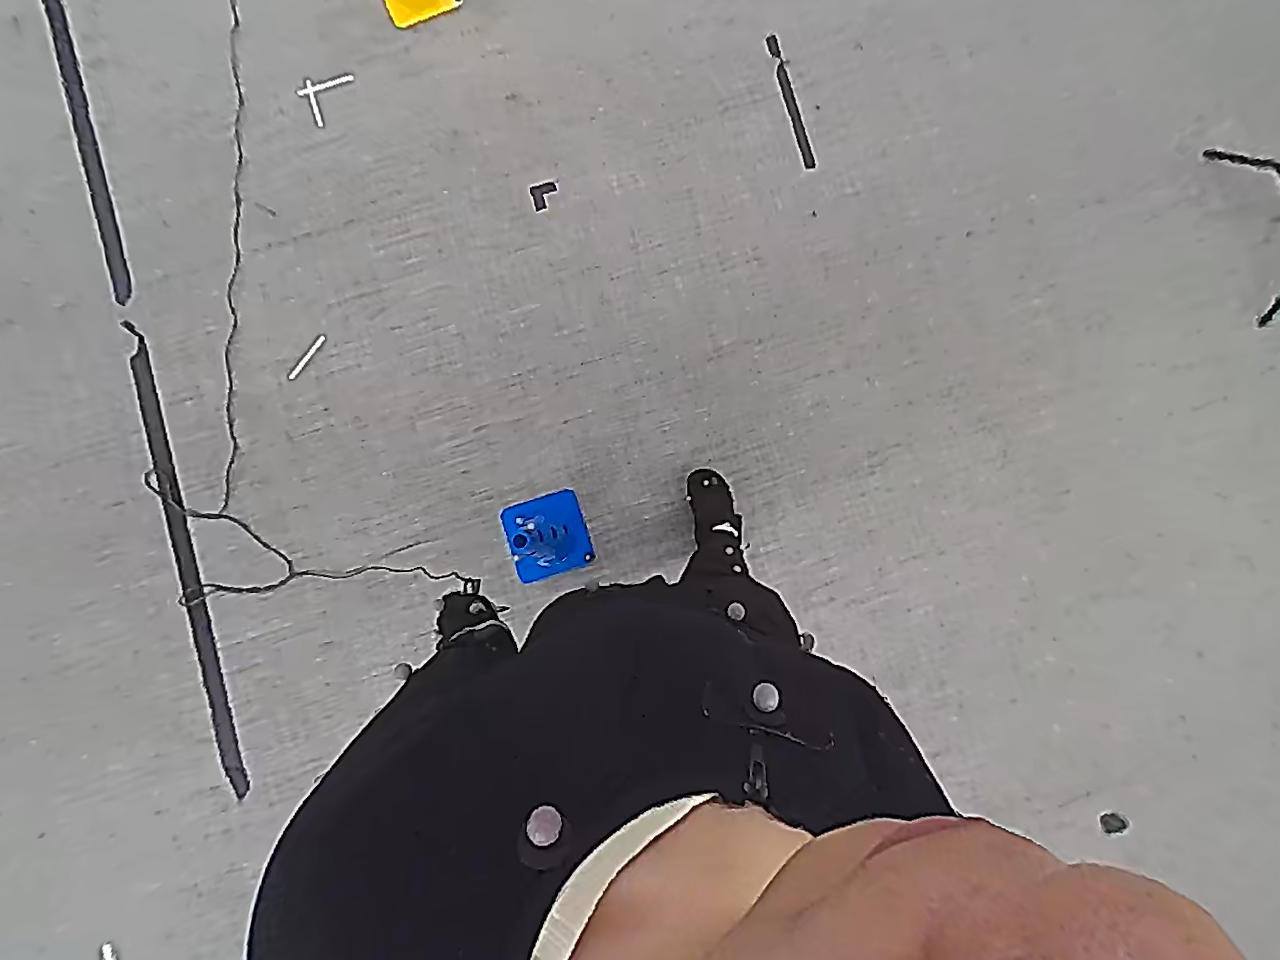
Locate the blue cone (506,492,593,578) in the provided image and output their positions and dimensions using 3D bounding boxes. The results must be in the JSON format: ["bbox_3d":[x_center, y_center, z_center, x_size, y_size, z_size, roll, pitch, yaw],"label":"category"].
[{"bbox_3d":[-0.225,0.125,1.197,0.192,0.380,0.193,-16,86,-3],"label":"blue cone"}]
